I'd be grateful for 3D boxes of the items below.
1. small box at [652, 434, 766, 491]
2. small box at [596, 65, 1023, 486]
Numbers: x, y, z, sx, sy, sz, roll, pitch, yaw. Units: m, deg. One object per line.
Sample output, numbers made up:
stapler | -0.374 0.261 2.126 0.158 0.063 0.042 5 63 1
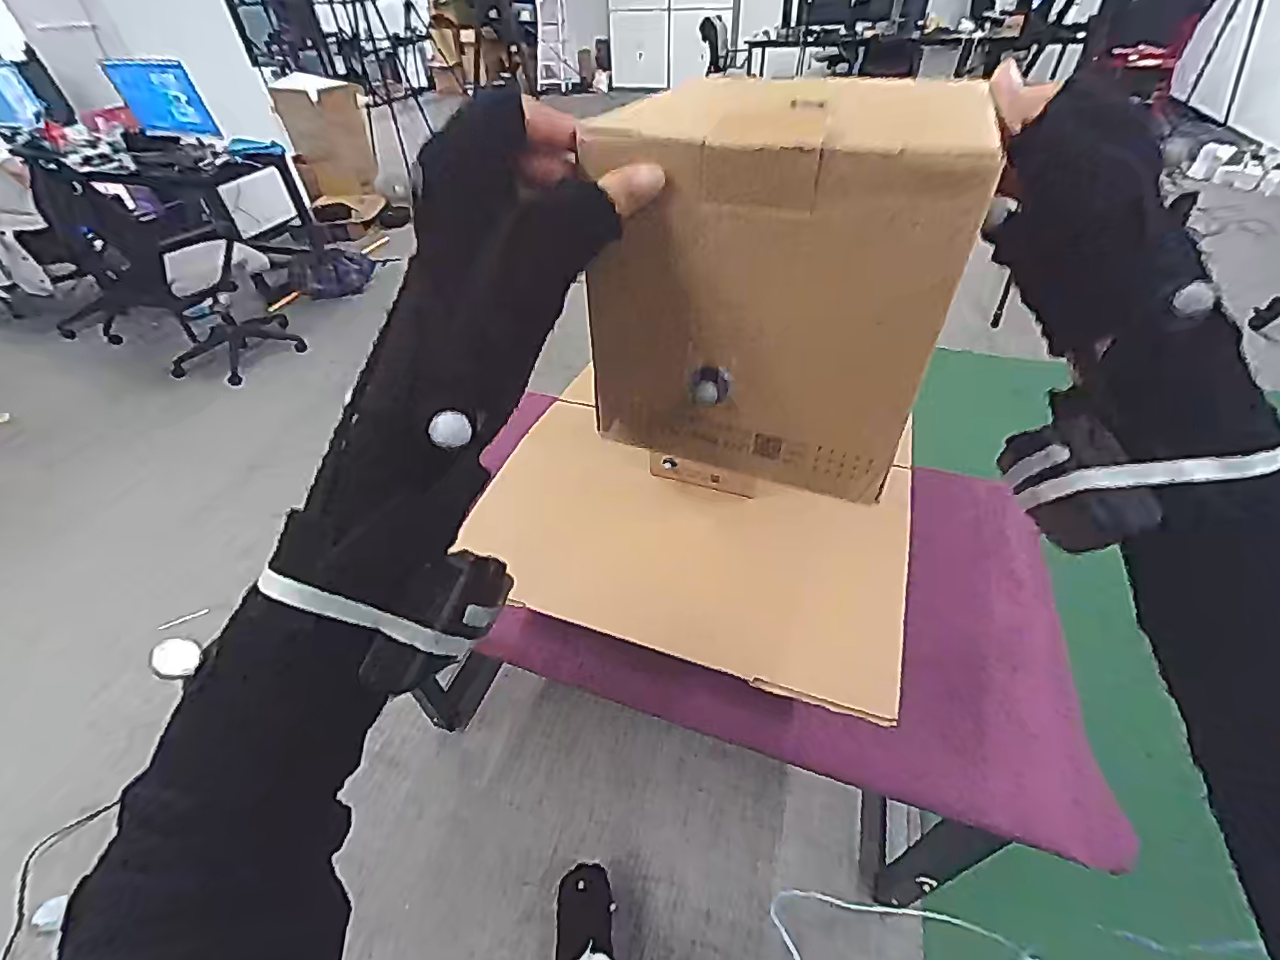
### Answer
small box | 0.118 -0.107 0.813 0.168 0.176 0.179 11 45 14
small box | 0.088 -0.126 0.315 0.168 0.176 0.179 15 45 18
